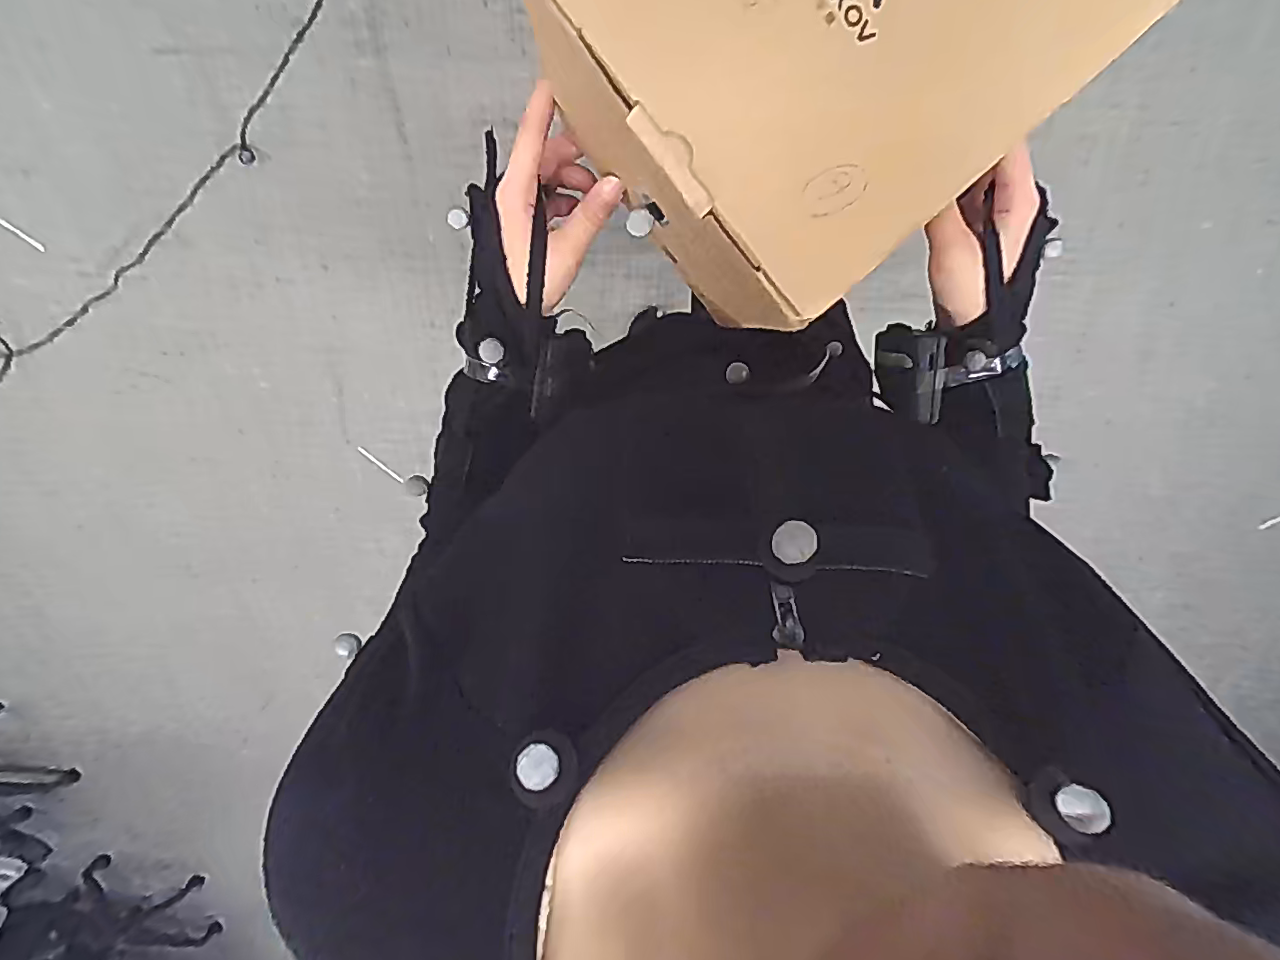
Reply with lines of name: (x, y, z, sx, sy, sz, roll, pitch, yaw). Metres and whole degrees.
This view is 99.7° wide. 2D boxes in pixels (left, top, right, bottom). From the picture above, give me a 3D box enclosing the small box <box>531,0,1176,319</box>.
small box: (0.074, -0.196, 0.266, 0.179, 0.176, 0.168, -40, 103, 9)
